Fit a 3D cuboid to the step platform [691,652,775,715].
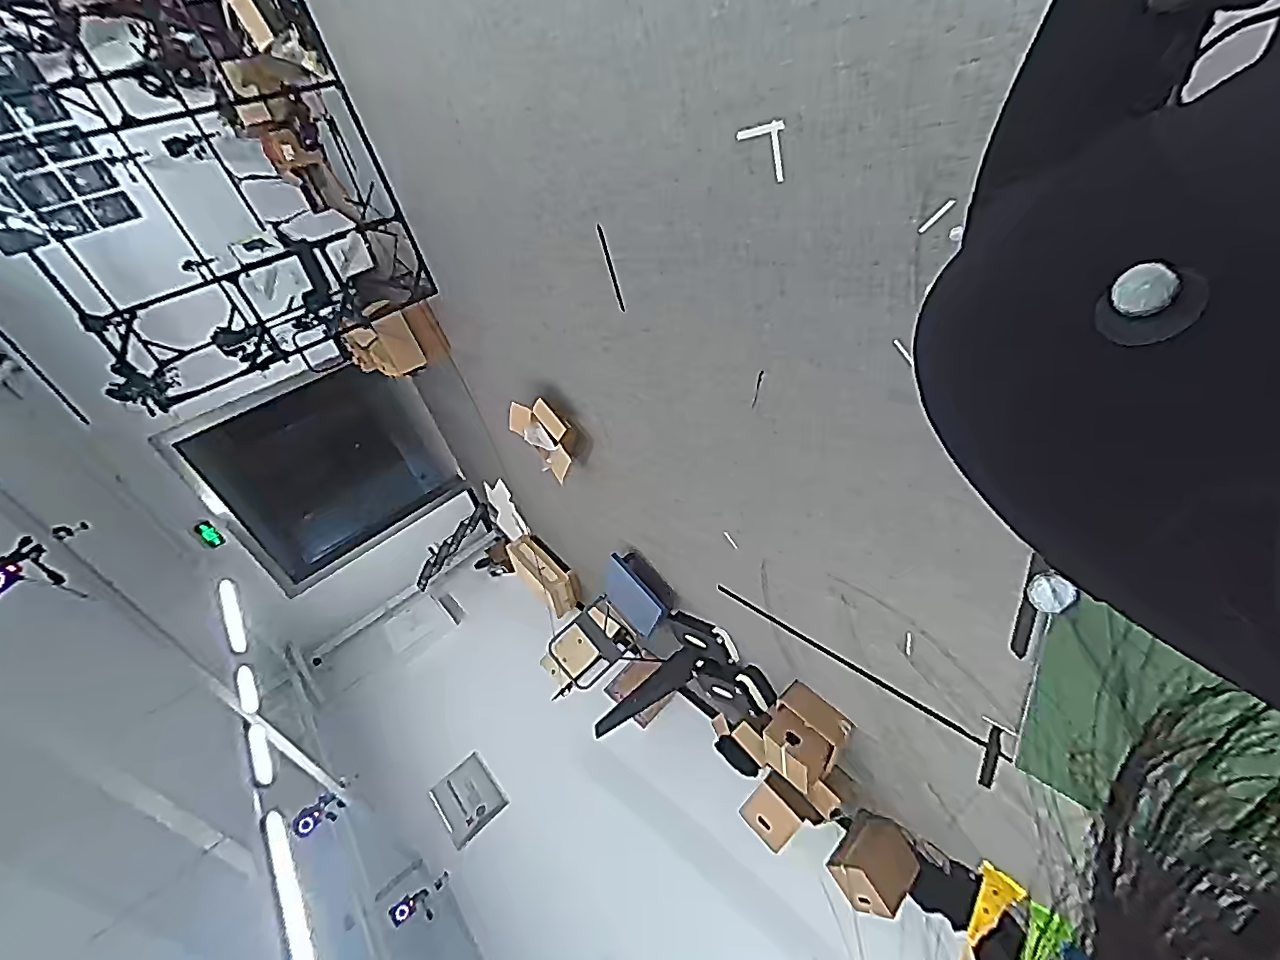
[{"bbox_3d":[0.649,1.467,3.914,0.286,0.204,0.684,58,153,-8],"label":"step platform"}]
